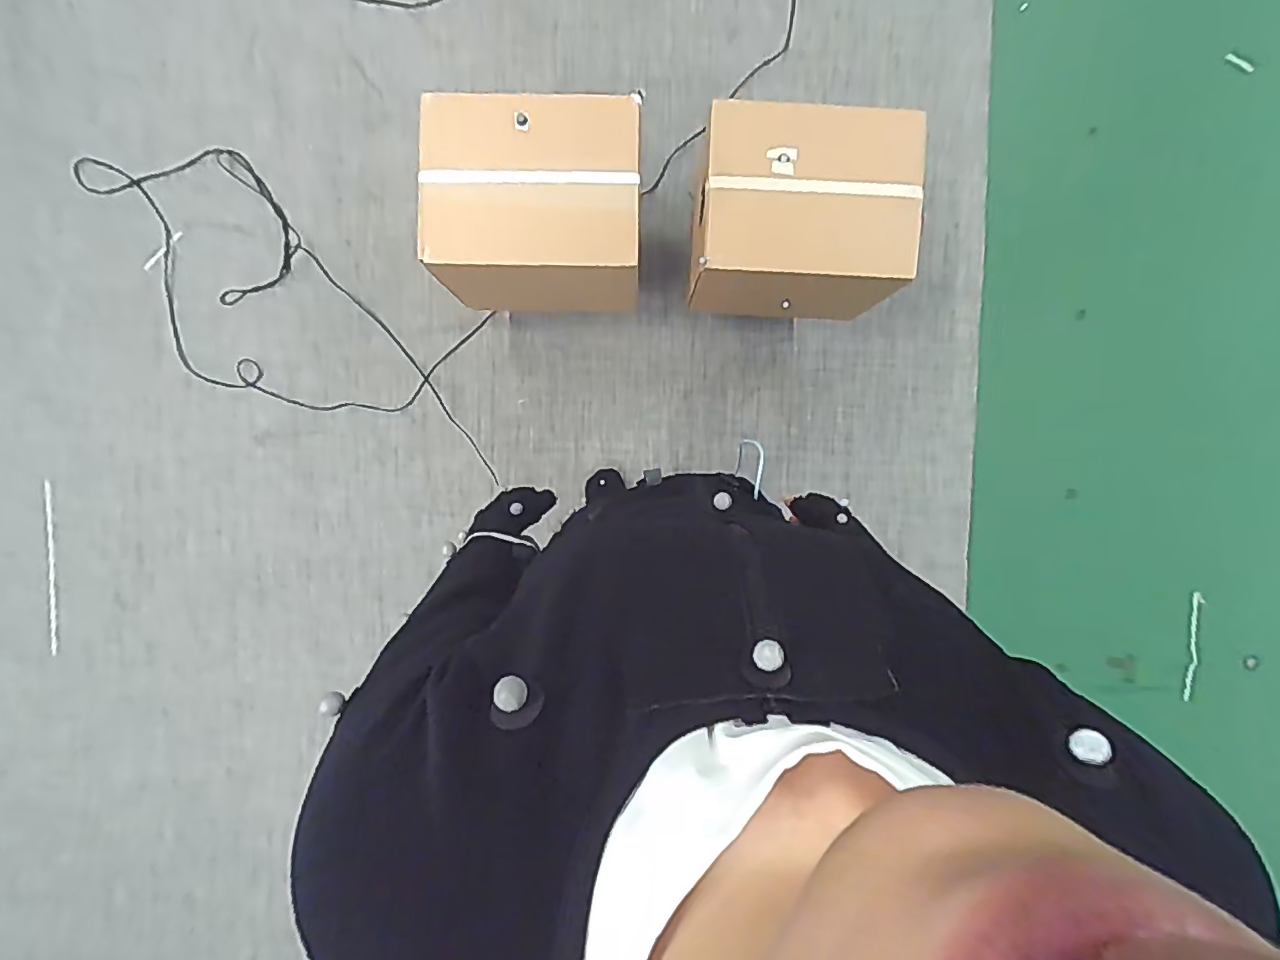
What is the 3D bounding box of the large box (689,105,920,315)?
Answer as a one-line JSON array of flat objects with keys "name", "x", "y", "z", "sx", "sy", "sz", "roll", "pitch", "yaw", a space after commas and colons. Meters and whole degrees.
[{"name": "large box", "x": 0.326, "y": -0.552, "z": 1.171, "sx": 0.408, "sy": 0.320, "sz": 0.320, "roll": 3, "pitch": 92, "yaw": -1}]
